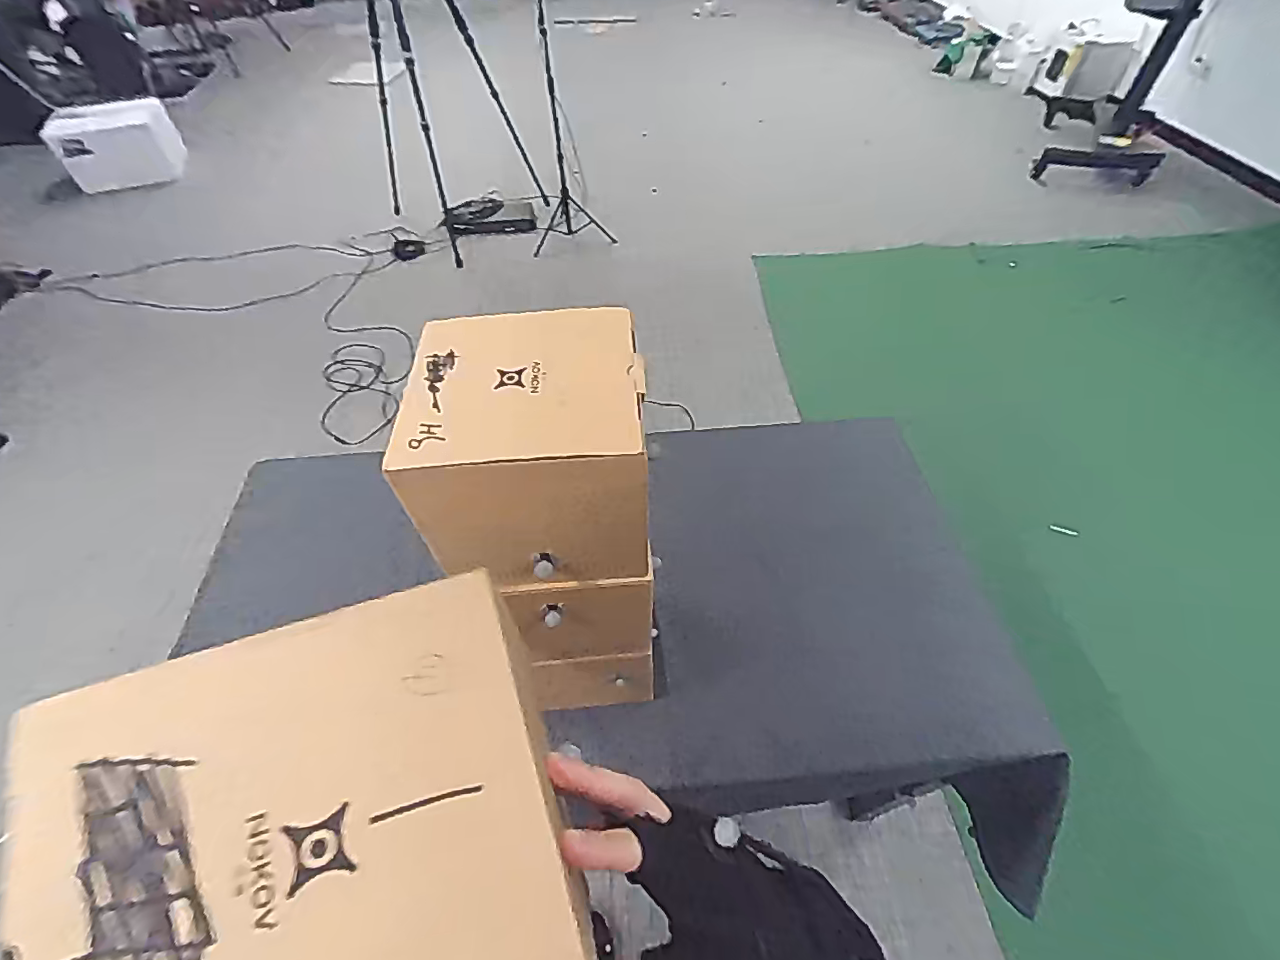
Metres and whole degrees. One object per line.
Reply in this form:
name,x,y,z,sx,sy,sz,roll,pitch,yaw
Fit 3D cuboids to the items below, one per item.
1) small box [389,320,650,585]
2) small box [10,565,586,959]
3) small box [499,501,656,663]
small box,-0.084,-0.019,0.473,0.179,0.176,0.168,-3,50,-2
small box,-0.132,0.164,0.266,0.179,0.176,0.168,-15,68,-15
small box,-0.079,0.089,0.596,0.179,0.176,0.168,-5,51,-2
